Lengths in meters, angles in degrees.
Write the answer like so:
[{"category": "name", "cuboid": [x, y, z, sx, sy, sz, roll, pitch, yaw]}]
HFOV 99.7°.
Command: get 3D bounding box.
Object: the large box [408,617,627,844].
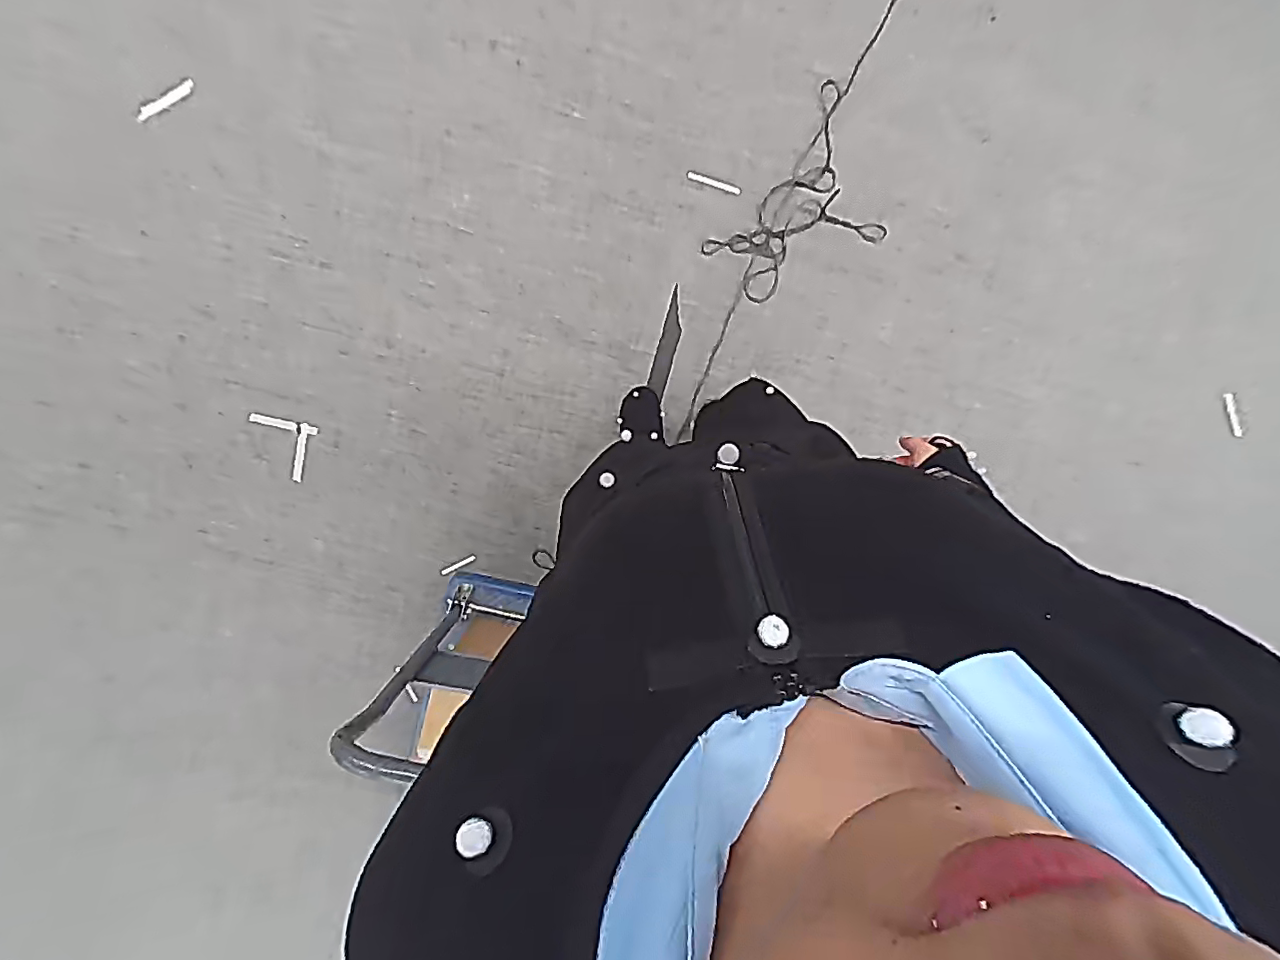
[{"category": "large box", "cuboid": [-0.256, 0.557, 1.255, 0.408, 0.320, 0.320, 14, 97, -4]}]
